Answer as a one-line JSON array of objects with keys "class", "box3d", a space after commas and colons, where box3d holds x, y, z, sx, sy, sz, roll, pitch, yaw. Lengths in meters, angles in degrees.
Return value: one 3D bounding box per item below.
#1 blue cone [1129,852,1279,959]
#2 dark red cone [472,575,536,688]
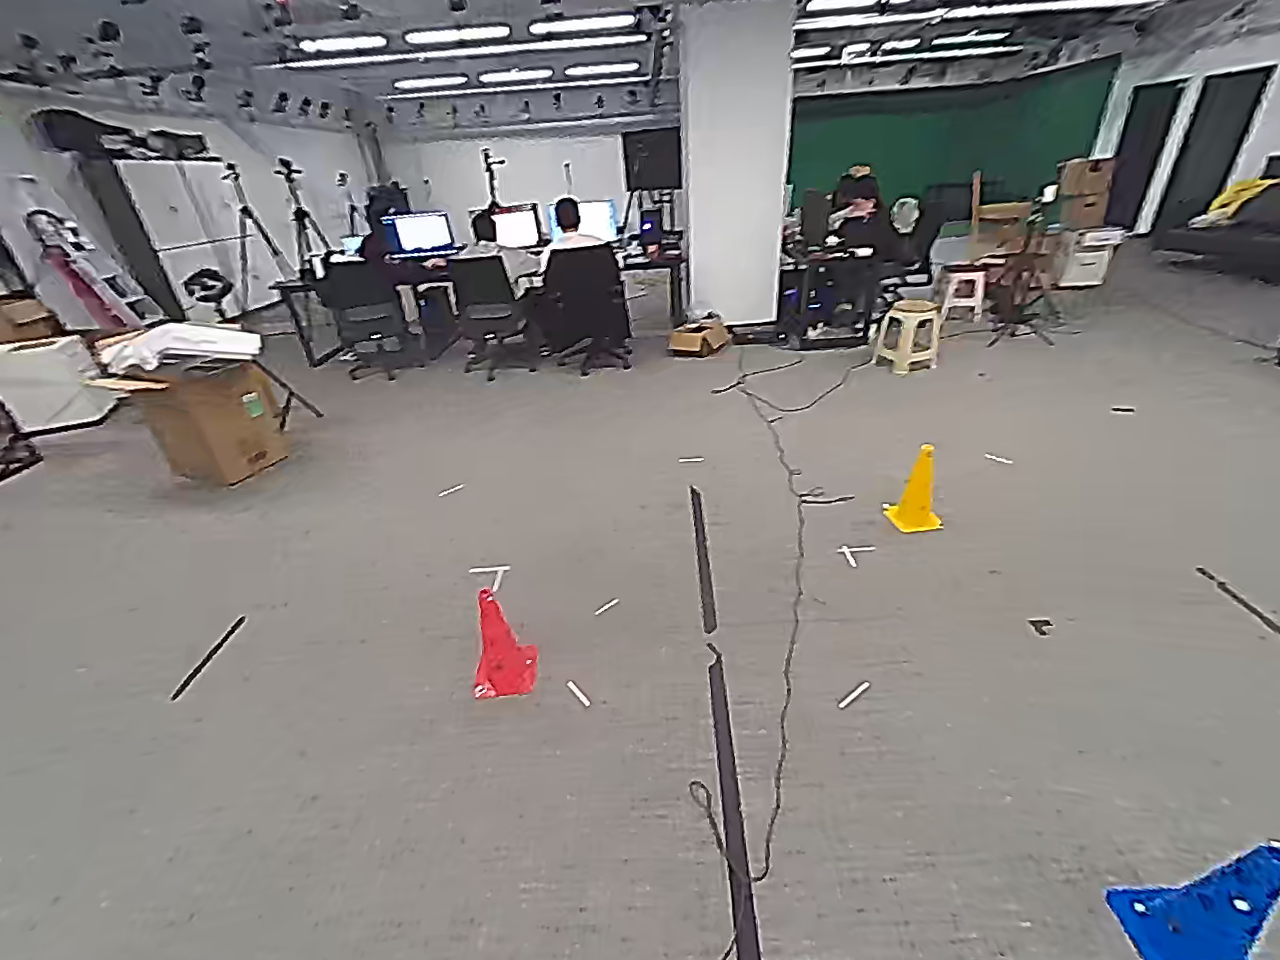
[{"class": "blue cone", "box3d": [1.114, 0.790, 0.994, 0.192, 0.380, 0.193, -2, 30, 3]}, {"class": "dark red cone", "box3d": [-0.457, 0.467, 1.720, 0.201, 0.394, 0.202, -6, 30, -4]}]
